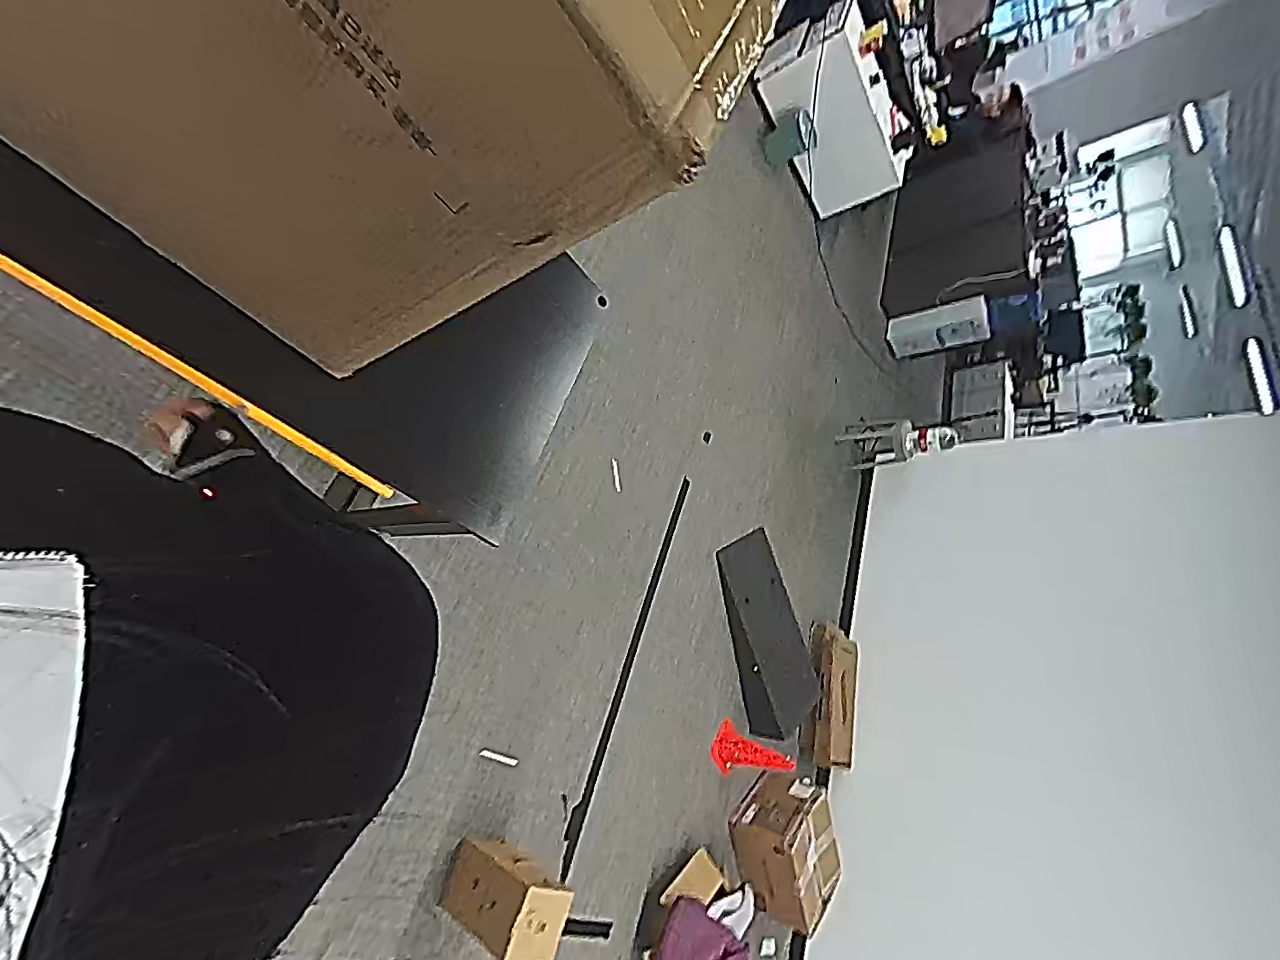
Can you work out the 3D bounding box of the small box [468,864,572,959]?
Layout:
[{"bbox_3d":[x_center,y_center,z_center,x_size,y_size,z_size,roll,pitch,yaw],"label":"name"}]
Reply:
[{"bbox_3d":[-0.321,1.160,1.449,0.179,0.176,0.168,42,56,-36],"label":"small box"}]

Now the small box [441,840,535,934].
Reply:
[{"bbox_3d":[-0.442,1.168,1.561,0.168,0.176,0.179,39,59,-39],"label":"small box"}]
